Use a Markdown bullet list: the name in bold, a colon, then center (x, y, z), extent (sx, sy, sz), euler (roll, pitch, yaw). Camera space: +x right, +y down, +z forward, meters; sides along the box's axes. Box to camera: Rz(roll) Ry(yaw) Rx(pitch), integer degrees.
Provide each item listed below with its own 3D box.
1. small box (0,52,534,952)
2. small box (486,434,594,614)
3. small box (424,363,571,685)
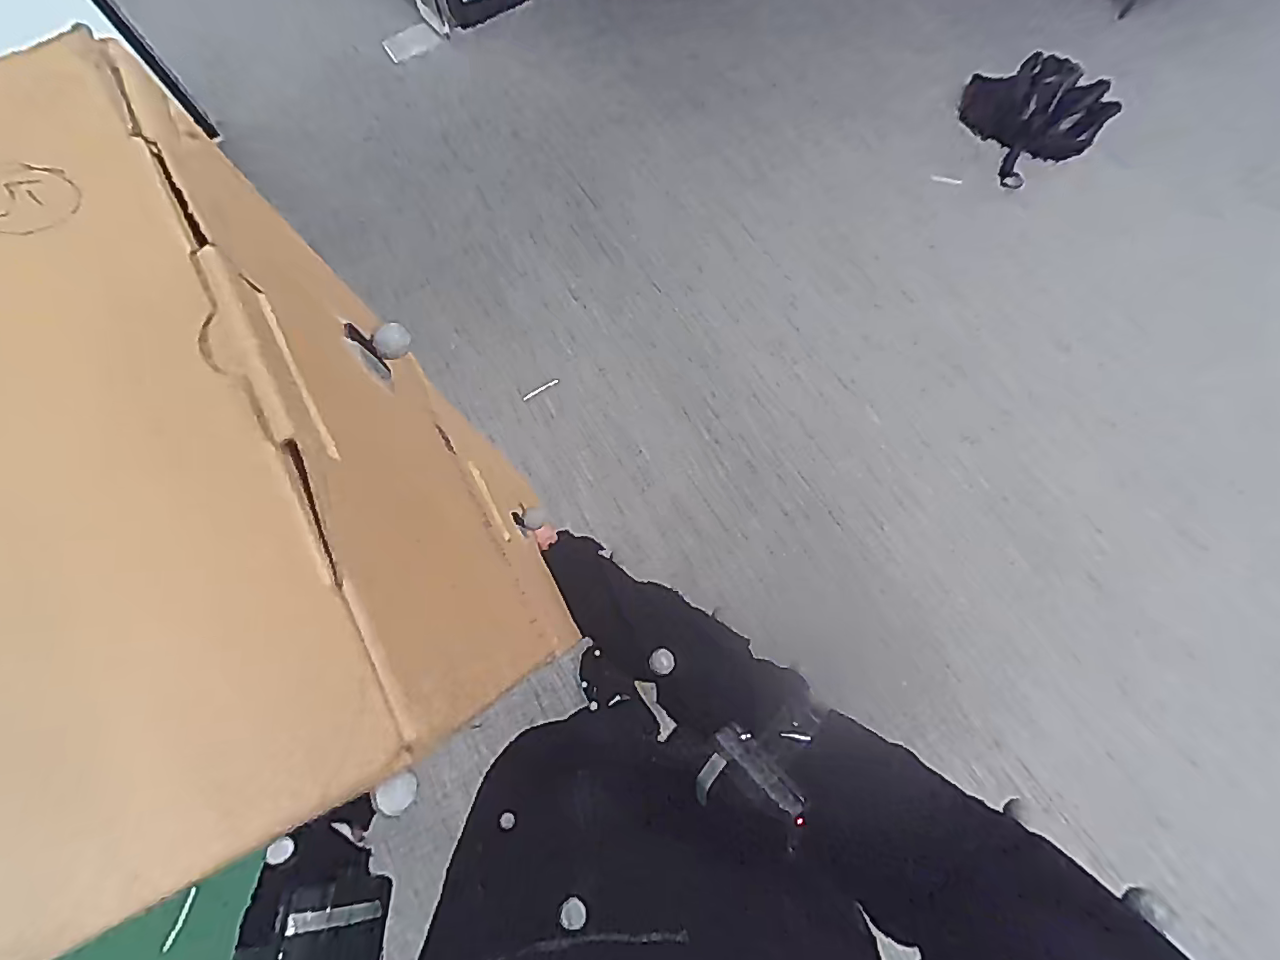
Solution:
- **small box**: center (-0.150, 0.025, 0.183), extent (0.179, 0.176, 0.168), euler (-29, 80, -5)
- **small box**: center (-0.156, 0.086, 0.502), extent (0.179, 0.176, 0.168), euler (-33, 82, -8)
- **small box**: center (-0.154, 0.060, 0.340), extent (0.179, 0.176, 0.168), euler (-28, 80, -7)
